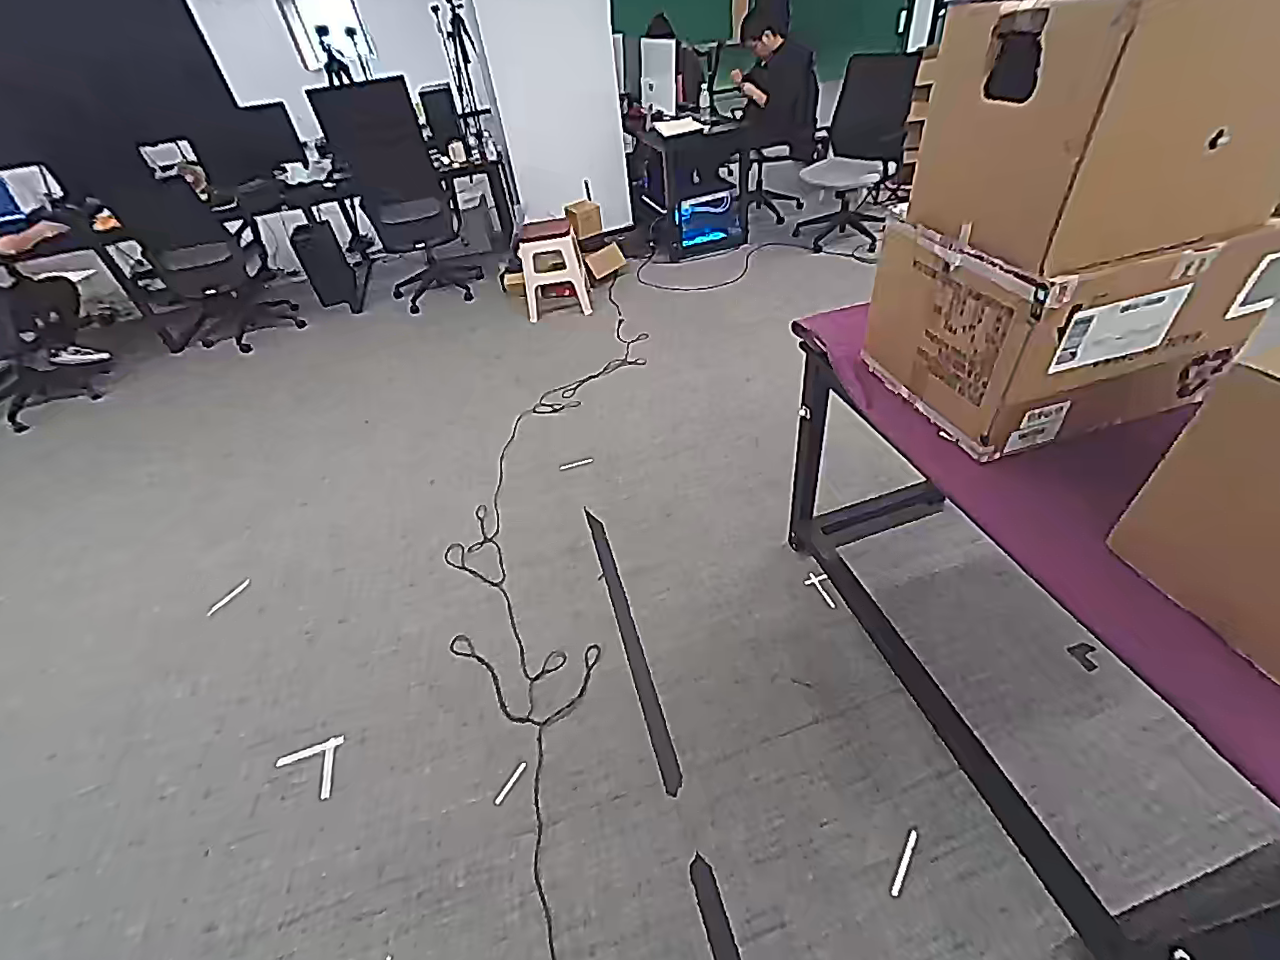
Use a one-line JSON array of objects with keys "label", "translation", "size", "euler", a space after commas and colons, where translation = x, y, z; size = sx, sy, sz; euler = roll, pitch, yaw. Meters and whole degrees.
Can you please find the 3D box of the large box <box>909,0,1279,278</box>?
[{"label": "large box", "translation": [0.698, -0.541, 0.807], "size": [0.408, 0.320, 0.320], "euler": [-16, 41, -8]}]
